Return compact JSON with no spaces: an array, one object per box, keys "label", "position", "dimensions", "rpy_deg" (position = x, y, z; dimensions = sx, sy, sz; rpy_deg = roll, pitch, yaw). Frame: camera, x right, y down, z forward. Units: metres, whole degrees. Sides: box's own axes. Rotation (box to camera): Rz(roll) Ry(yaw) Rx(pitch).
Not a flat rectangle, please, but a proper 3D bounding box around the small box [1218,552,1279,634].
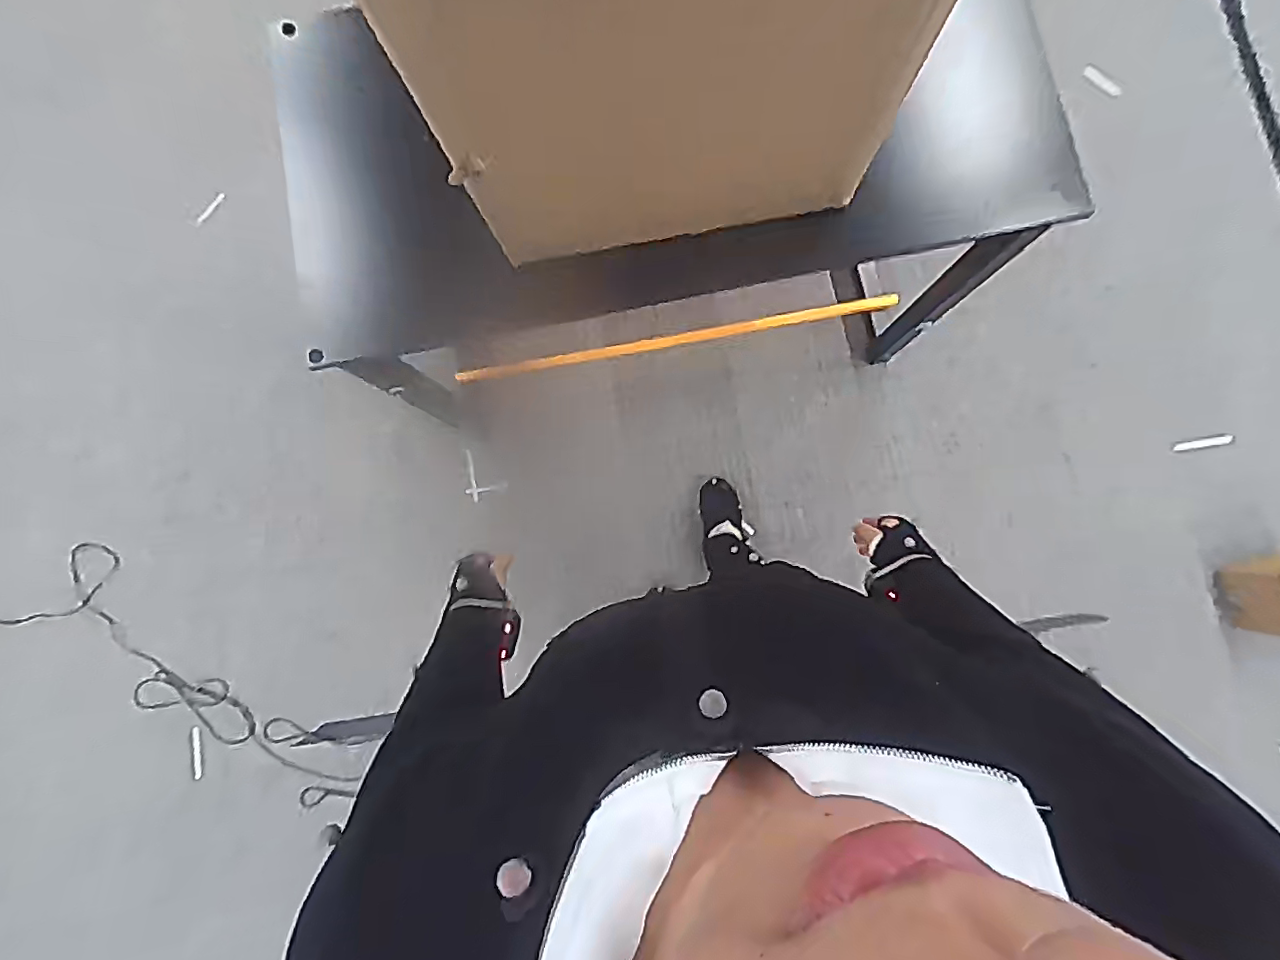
[{"label":"small box","position":[1.608,0.276,1.327],"dimensions":[0.179,0.176,0.168],"rpy_deg":[-15,83,3]}]
